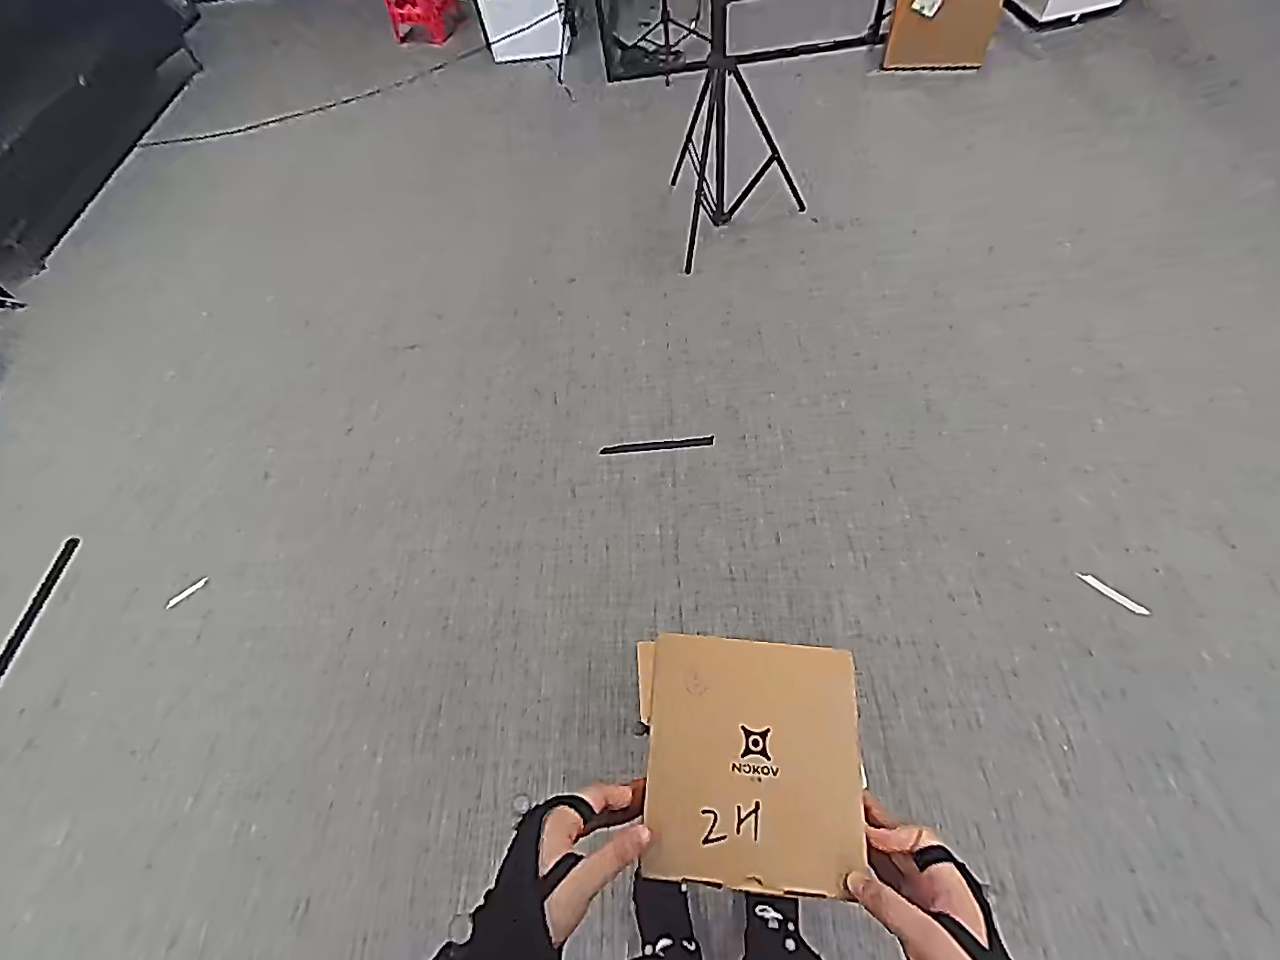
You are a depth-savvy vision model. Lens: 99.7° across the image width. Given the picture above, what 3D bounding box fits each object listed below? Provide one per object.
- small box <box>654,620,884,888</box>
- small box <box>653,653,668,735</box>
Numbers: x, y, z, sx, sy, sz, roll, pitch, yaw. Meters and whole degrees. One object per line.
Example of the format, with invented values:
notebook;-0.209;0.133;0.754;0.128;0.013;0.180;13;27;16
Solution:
small box;0.102;0.238;0.494;0.168;0.176;0.179;4;66;3
small box;0.121;0.512;1.273;0.168;0.176;0.179;-5;60;5
